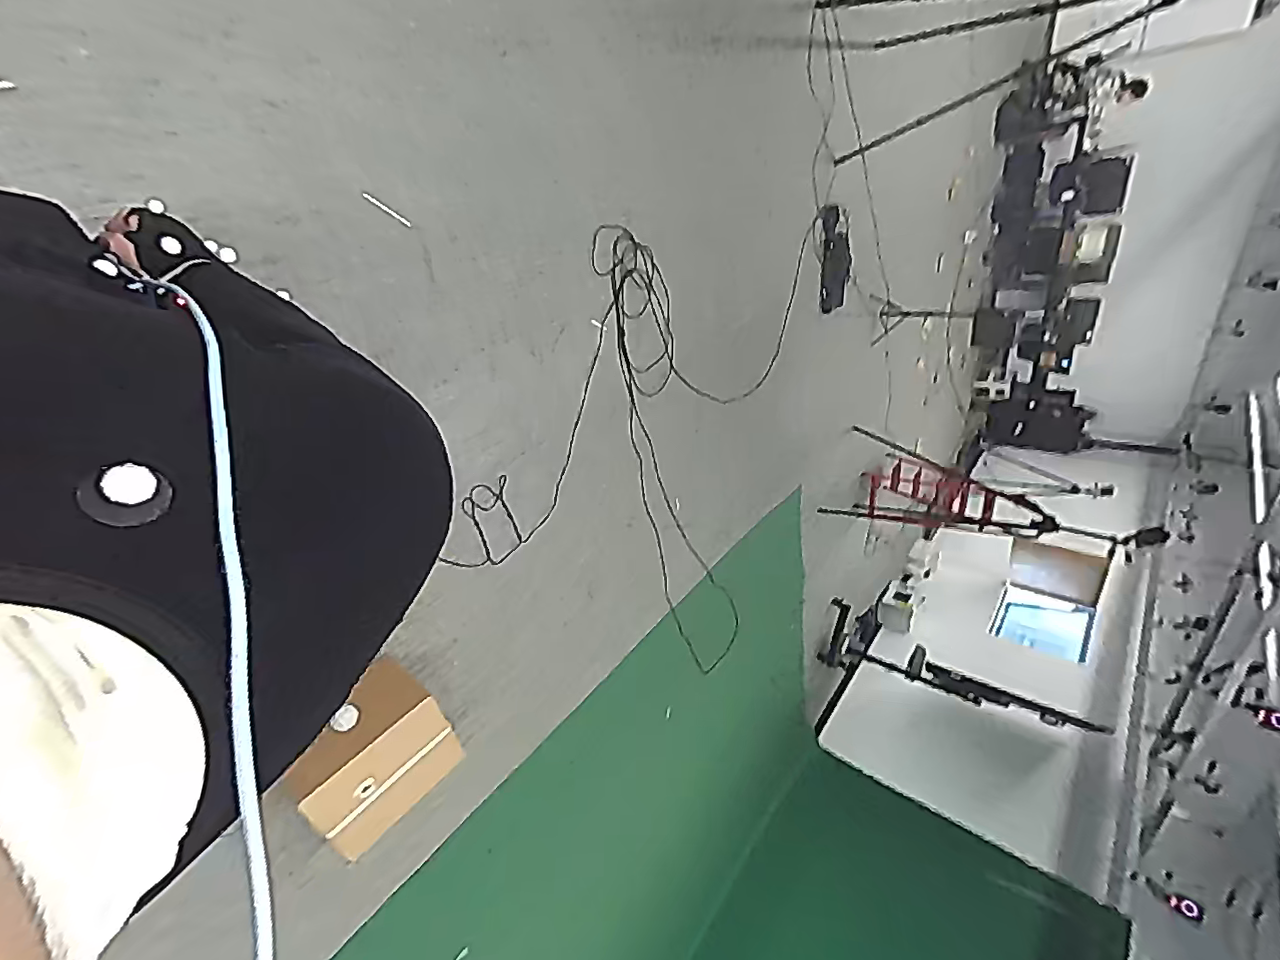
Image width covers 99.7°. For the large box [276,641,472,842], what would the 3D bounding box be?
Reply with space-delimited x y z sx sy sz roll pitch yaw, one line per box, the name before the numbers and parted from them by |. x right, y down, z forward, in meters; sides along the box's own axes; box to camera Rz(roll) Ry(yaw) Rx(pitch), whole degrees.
large box | -0.820 0.795 1.699 0.408 0.320 0.320 -37 128 -35
